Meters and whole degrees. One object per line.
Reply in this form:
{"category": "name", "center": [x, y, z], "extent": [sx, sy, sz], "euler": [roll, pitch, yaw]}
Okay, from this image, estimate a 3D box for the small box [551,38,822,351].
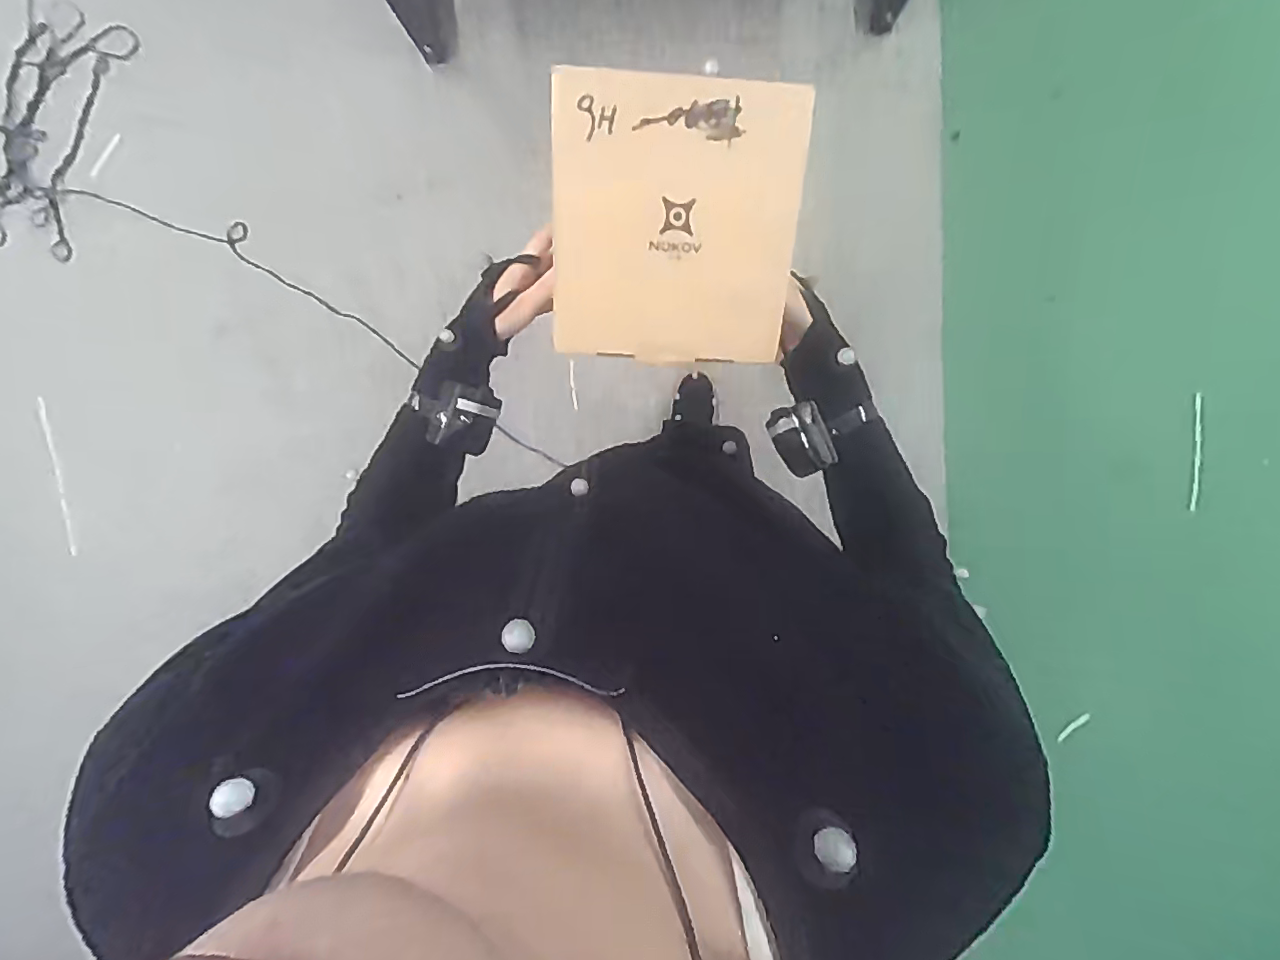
{"category": "small box", "center": [0.021, -0.211, 0.429], "extent": [0.168, 0.176, 0.179], "euler": [2, 115, -4]}
